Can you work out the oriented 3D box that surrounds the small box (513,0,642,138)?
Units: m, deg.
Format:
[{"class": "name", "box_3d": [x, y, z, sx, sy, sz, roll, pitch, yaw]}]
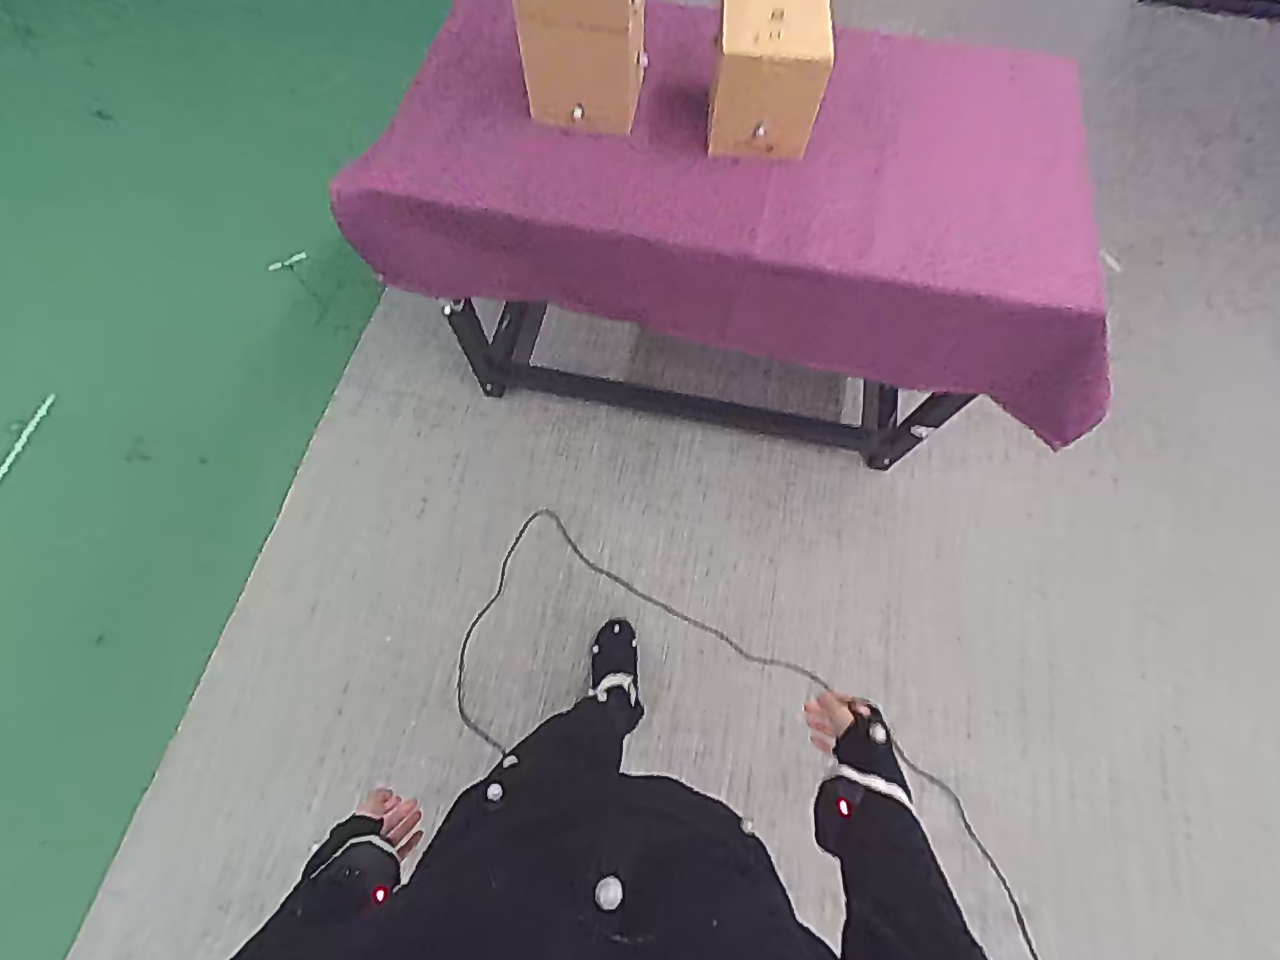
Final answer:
[{"class": "small box", "box_3d": [-0.095, -0.711, 0.906, 0.179, 0.176, 0.168, 9, 70, 2]}]

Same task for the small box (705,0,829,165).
[{"class": "small box", "box_3d": [0.201, -0.663, 0.894, 0.168, 0.176, 0.179, 4, 70, 1]}]

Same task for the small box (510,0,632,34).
[{"class": "small box", "box_3d": [-0.091, -0.768, 0.751, 0.179, 0.176, 0.168, 9, 70, 3]}]
